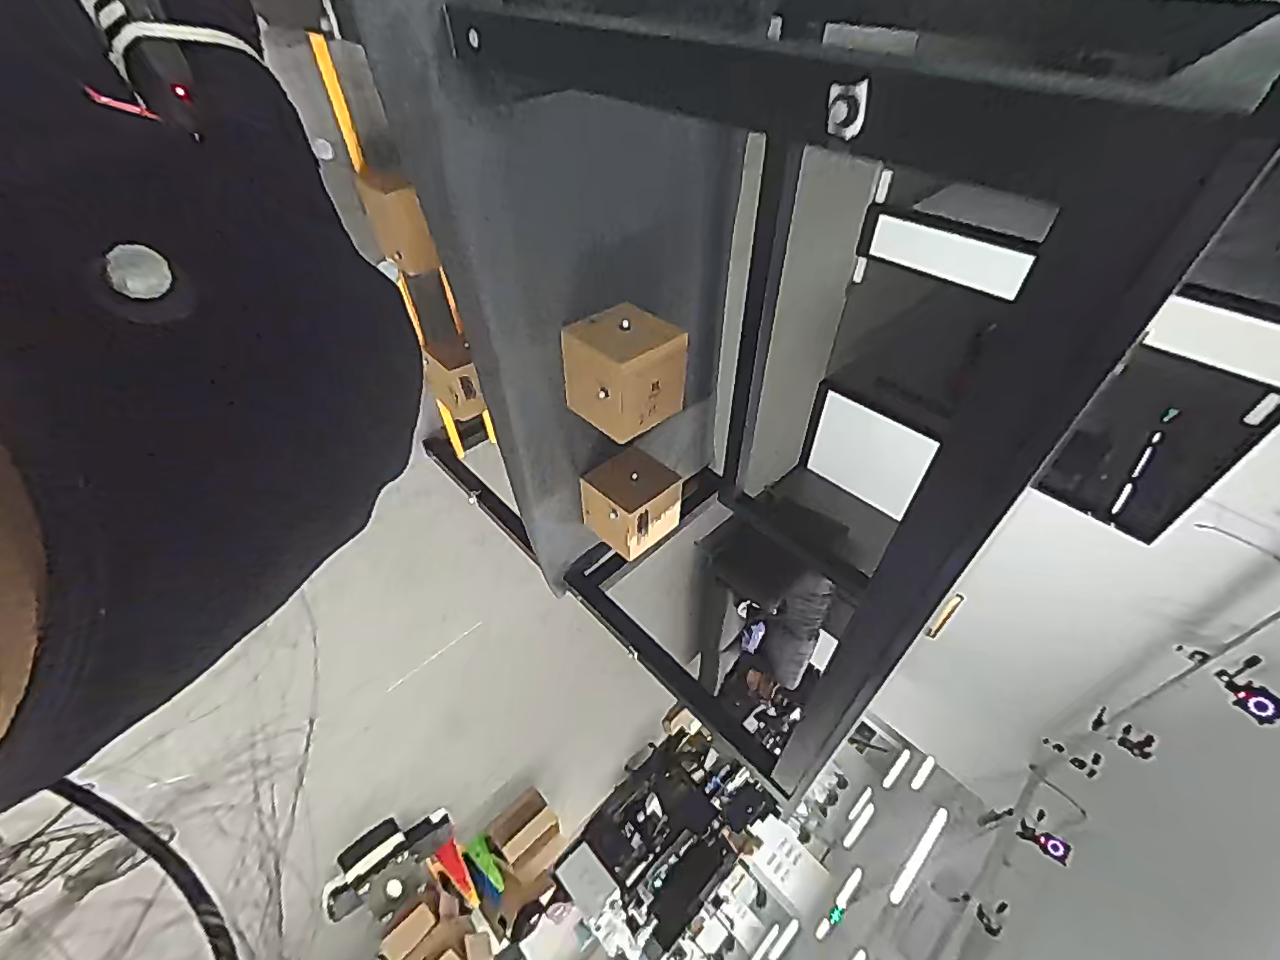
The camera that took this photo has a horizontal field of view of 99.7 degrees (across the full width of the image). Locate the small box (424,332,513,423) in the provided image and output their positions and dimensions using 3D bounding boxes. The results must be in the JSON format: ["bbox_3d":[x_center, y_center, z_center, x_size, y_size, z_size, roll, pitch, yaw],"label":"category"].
[{"bbox_3d":[-0.490,-0.295,1.535,0.179,0.176,0.168,-32,143,-31],"label":"small box"}]

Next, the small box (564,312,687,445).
[{"bbox_3d":[-0.031,-0.203,1.032,0.168,0.176,0.179,-33,143,-31],"label":"small box"}]
